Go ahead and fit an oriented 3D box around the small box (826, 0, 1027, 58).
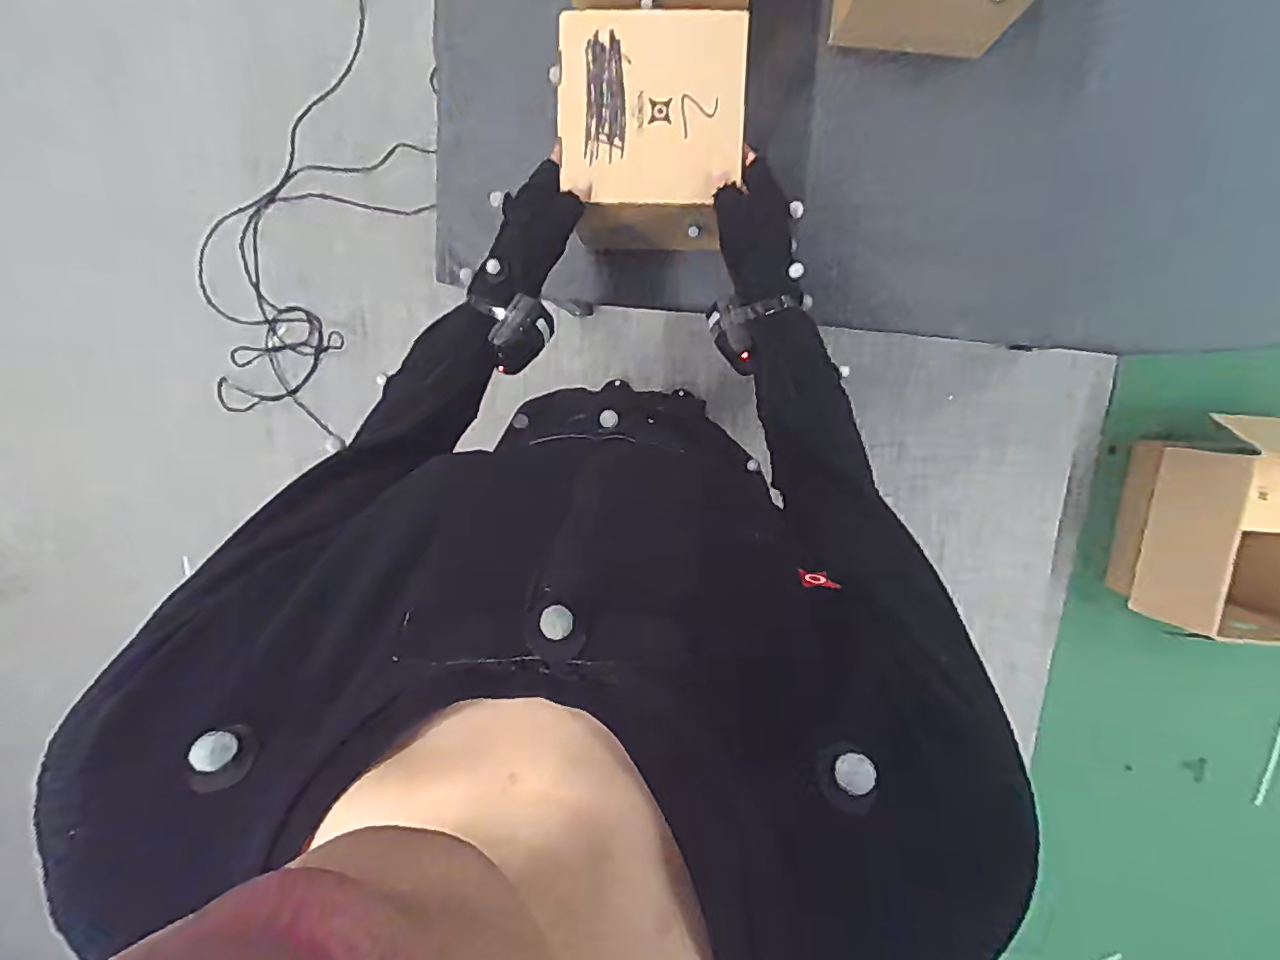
[{"bbox_3d":[0.306,-0.557,0.533,0.179,0.176,0.168,7,101,1],"label":"small box"}]
